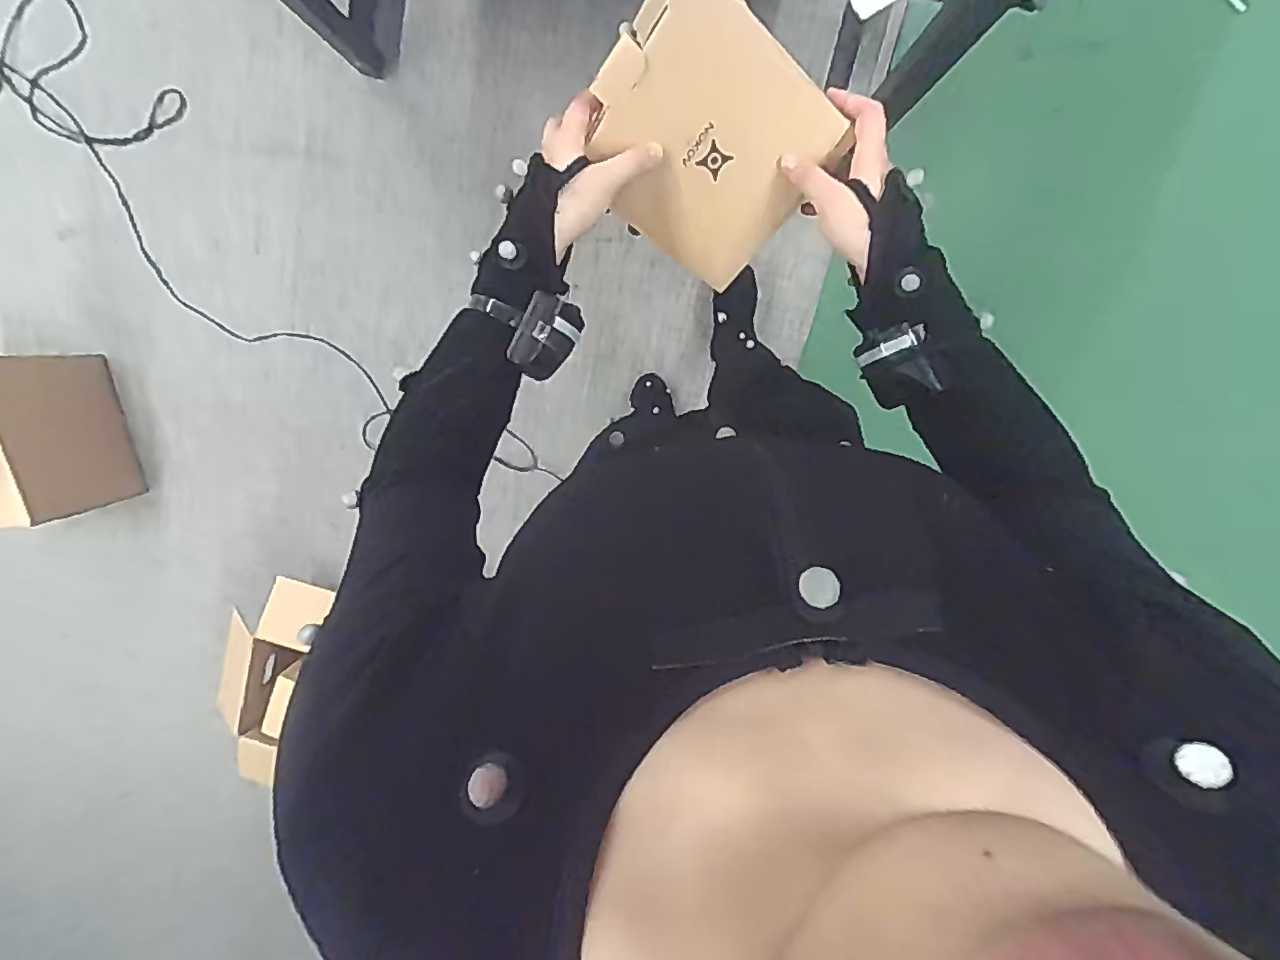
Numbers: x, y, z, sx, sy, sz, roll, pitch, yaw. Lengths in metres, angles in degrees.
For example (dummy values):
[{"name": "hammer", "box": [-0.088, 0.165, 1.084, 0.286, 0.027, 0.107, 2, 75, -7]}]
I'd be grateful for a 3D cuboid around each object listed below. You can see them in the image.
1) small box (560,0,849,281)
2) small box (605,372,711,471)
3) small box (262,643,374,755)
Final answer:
[{"name": "small box", "box": [0.050, -0.326, 0.488, 0.179, 0.176, 0.168, 27, 130, -25]}, {"name": "small box", "box": [0.052, -0.149, 1.355, 0.176, 0.168, 0.179, 37, 79, -34]}, {"name": "small box", "box": [-0.819, 0.554, 1.391, 0.168, 0.176, 0.179, 24, 103, 0]}]
